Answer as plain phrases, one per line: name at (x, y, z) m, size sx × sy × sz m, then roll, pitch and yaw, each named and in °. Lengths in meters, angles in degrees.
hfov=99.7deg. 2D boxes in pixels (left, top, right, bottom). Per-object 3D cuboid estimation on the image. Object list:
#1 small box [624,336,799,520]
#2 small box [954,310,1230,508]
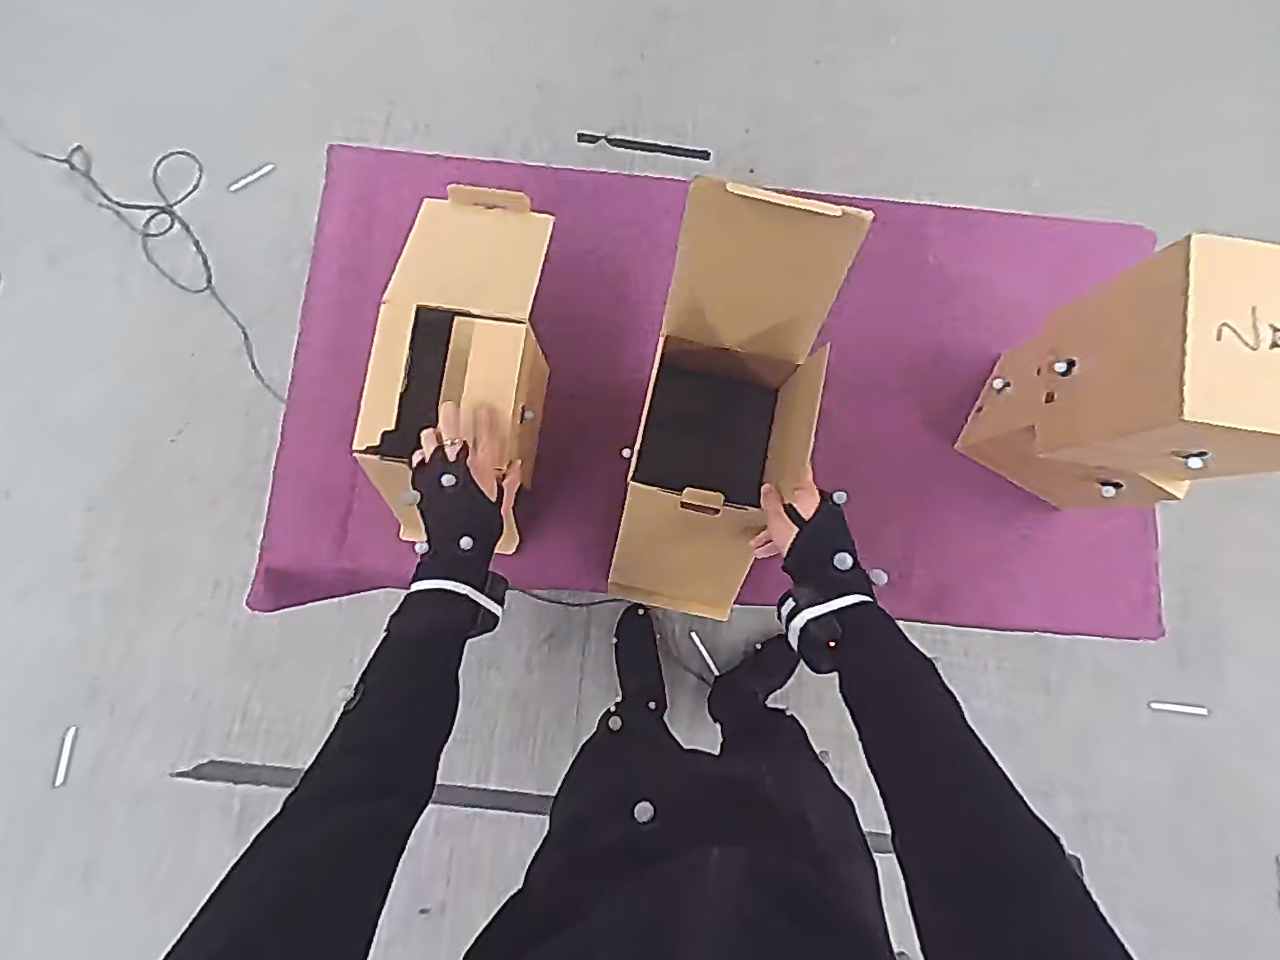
small box at (0.079, -0.051, 0.674) m, size 0.168 × 0.176 × 0.179 m, roll 13°, pitch 82°, yaw 0°
small box at (0.552, -0.075, 0.686) m, size 0.179 × 0.176 × 0.168 m, roll 31°, pitch 83°, yaw 3°
